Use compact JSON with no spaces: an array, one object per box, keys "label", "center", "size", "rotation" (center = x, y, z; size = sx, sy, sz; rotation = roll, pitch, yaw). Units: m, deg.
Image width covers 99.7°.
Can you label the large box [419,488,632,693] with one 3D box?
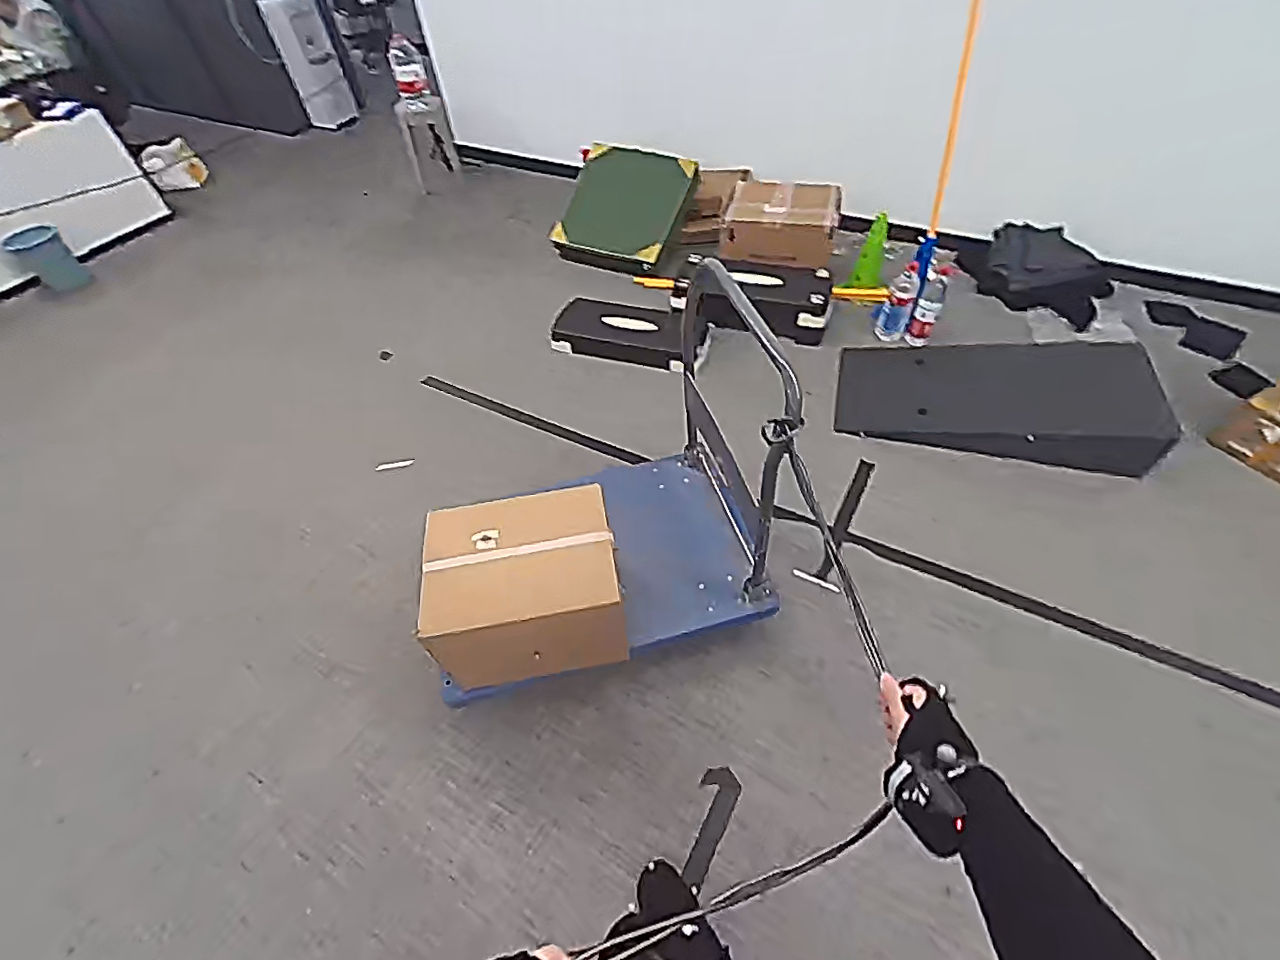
[{"label":"large box","center":[-0.251,0.262,1.264],"size":[0.408,0.320,0.320],"rotation":[-10,50,-4]}]
